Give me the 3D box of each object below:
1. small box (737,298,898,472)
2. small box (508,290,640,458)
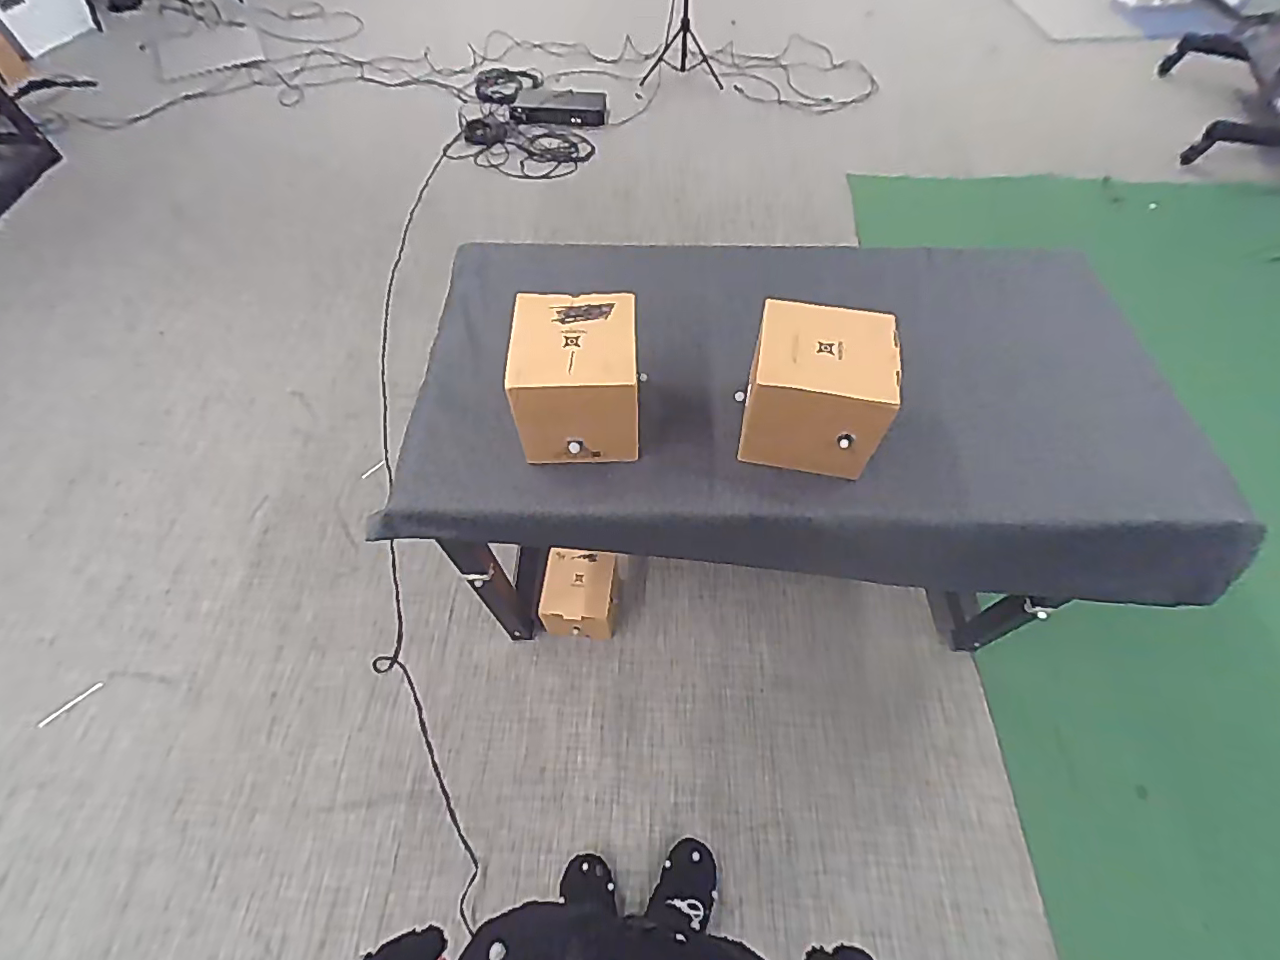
[{"bbox_3d":[0.244,-0.129,0.772,0.179,0.176,0.168,9,57,7],"label":"small box"},{"bbox_3d":[-0.085,-0.150,0.780,0.168,0.176,0.179,-1,58,-1],"label":"small box"}]
